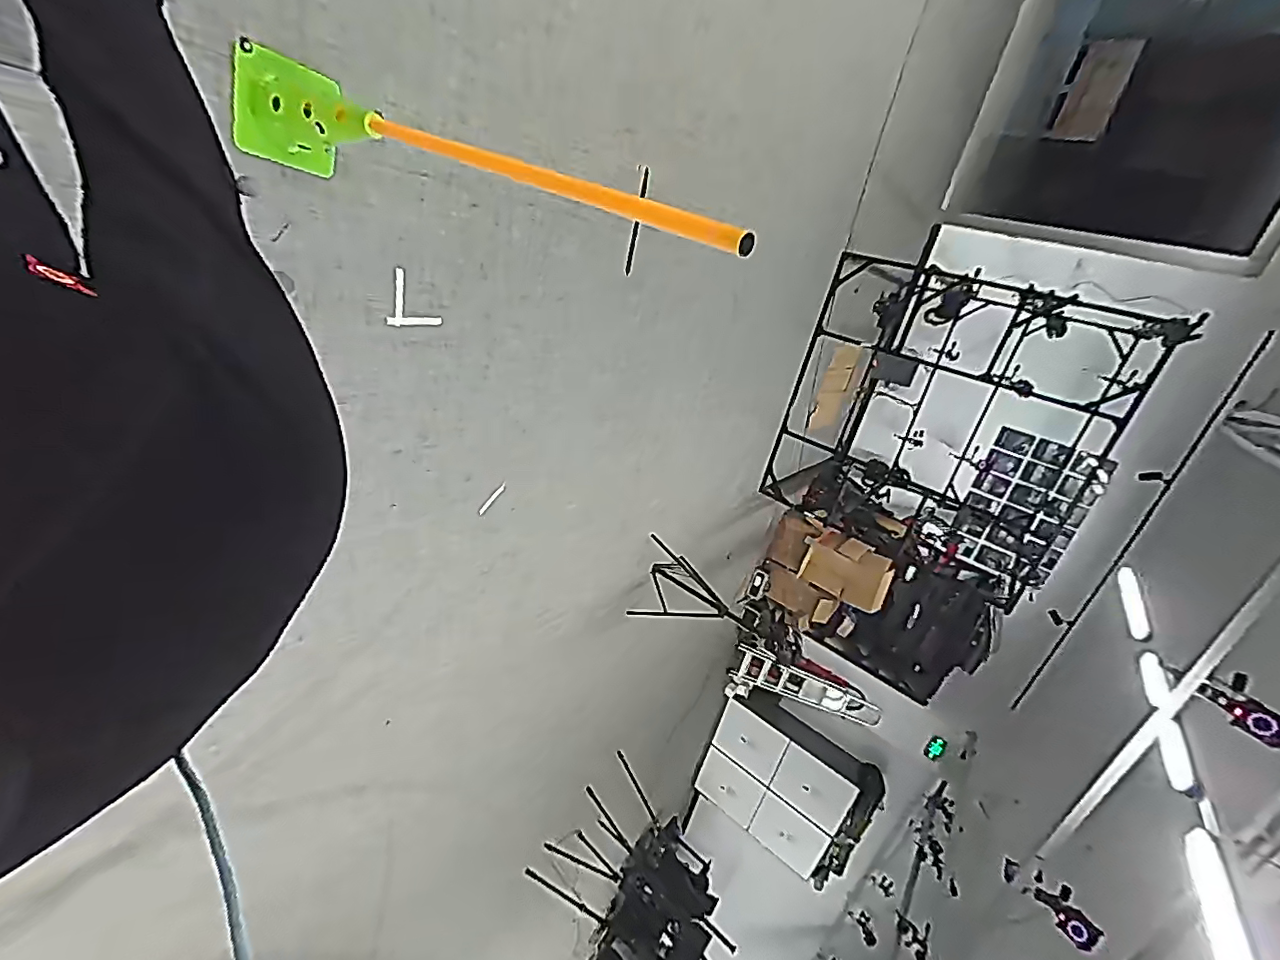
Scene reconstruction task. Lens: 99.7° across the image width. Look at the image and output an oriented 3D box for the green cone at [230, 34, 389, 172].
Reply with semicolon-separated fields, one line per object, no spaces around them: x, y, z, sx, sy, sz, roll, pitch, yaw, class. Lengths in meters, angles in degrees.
-0.624;-0.724;1.076;0.202;0.368;0.200;-13;125;-55;green cone
